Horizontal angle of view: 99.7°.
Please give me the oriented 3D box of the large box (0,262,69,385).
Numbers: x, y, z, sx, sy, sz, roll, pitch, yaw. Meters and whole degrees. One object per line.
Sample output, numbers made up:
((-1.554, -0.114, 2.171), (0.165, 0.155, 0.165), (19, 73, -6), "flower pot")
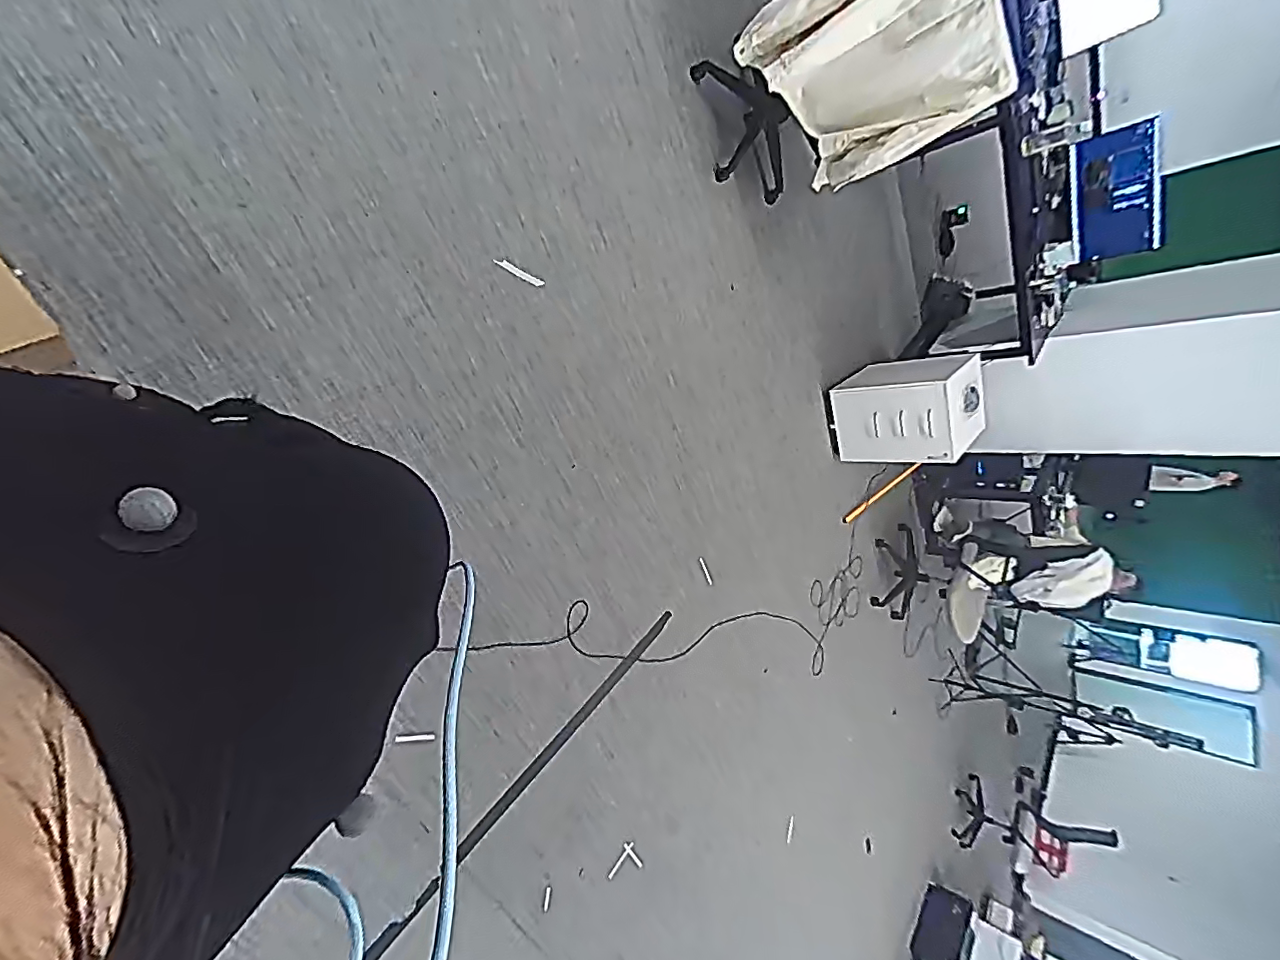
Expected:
((-1.098, -0.228, 0.693), (0.408, 0.320, 0.320), (-42, 120, -35), "large box")
